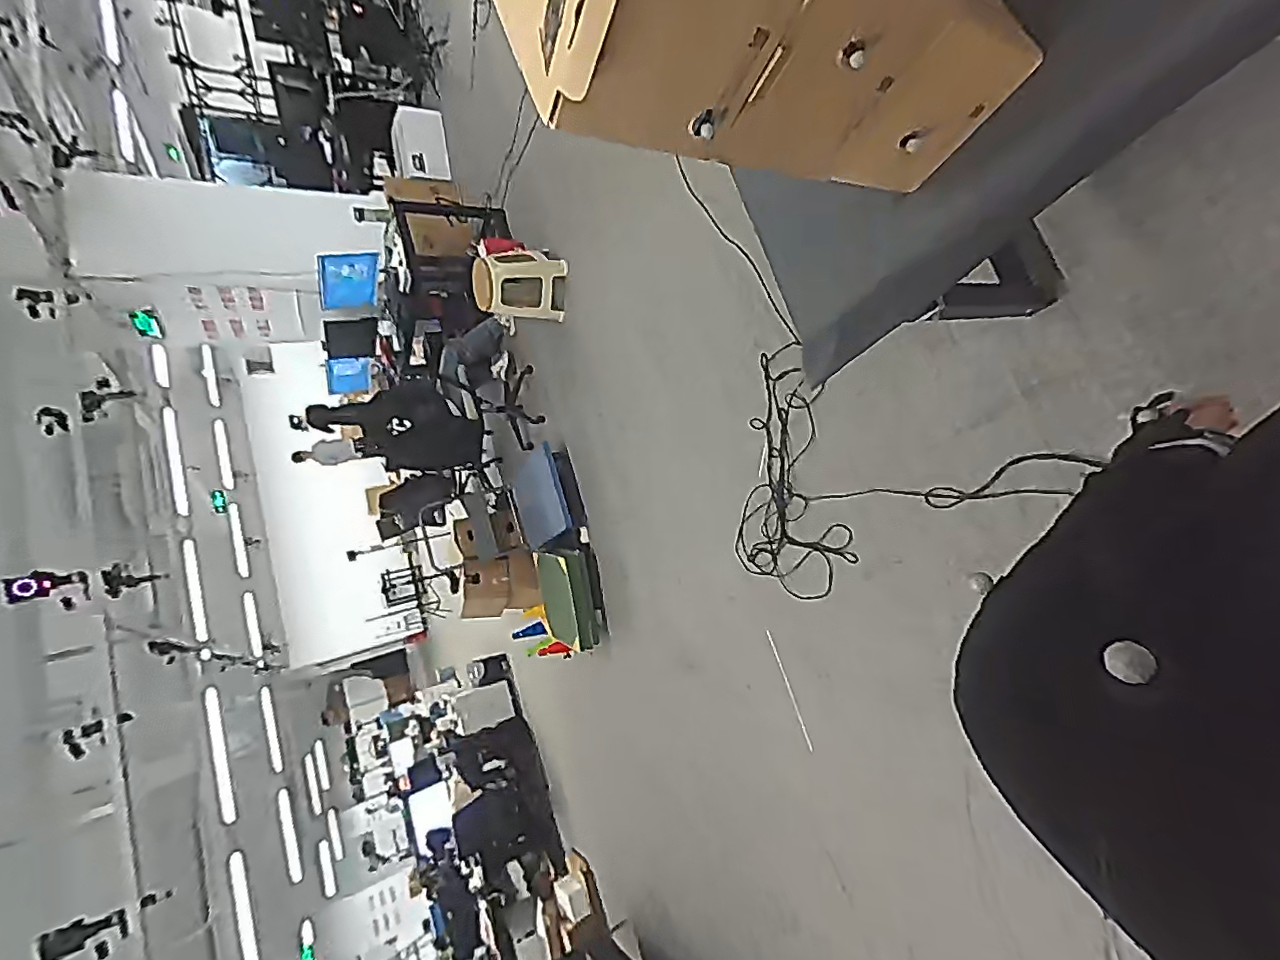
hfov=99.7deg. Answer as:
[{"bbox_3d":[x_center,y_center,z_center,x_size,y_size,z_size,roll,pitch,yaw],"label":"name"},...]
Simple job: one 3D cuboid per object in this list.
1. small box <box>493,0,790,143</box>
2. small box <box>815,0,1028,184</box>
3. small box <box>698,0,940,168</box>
[{"bbox_3d":[0.000,-0.403,0.429,0.168,0.176,0.179,-46,60,53],"label":"small box"},{"bbox_3d":[0.277,-0.457,0.598,0.168,0.176,0.179,-42,64,54],"label":"small box"},{"bbox_3d":[0.139,-0.429,0.513,0.168,0.176,0.179,-44,61,54],"label":"small box"}]
